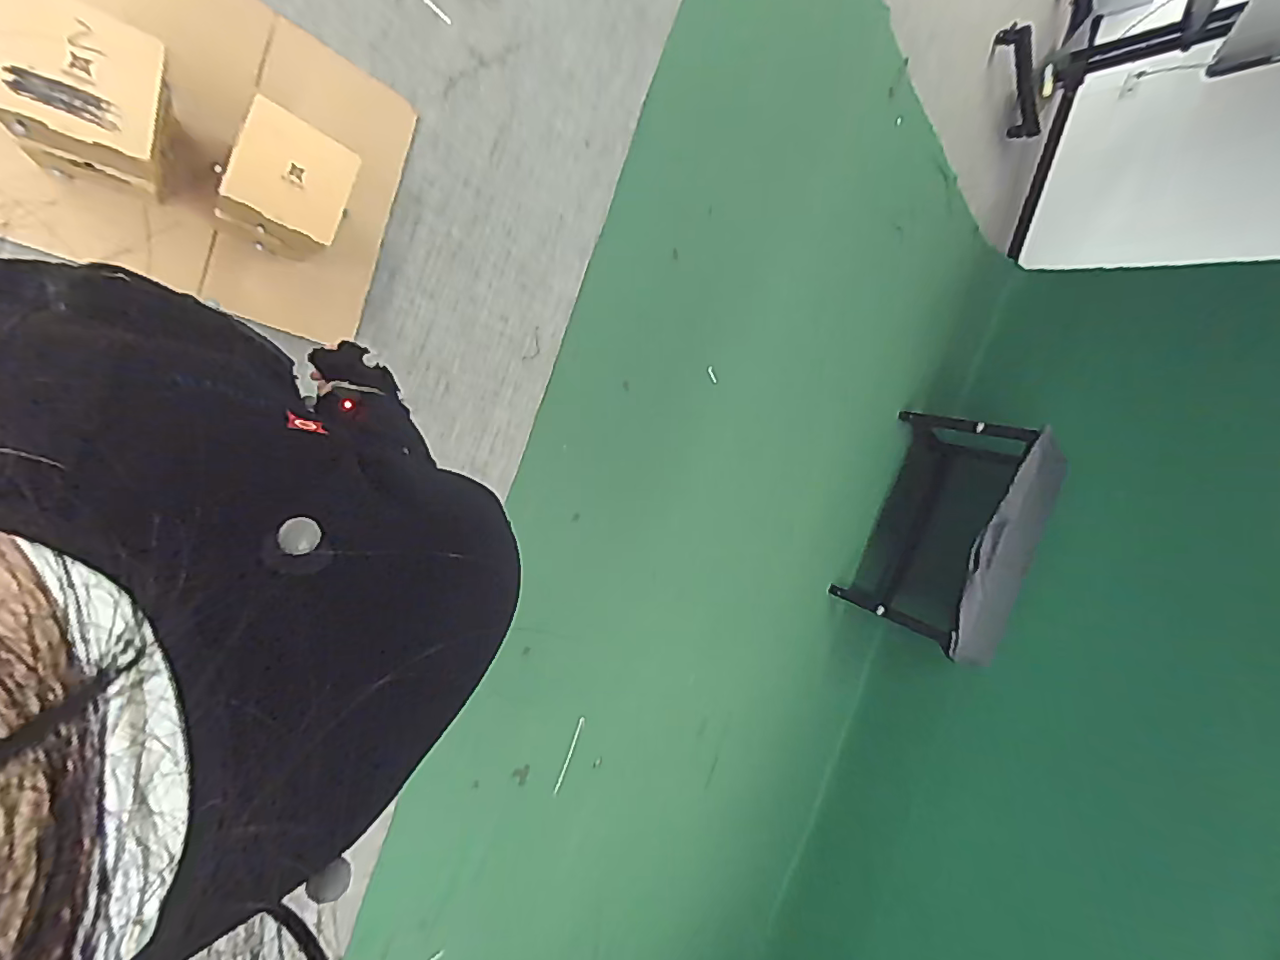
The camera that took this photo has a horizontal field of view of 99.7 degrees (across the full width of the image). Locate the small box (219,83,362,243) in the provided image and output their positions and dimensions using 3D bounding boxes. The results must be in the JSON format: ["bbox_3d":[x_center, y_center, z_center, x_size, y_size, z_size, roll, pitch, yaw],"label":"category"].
[{"bbox_3d":[-0.631,-0.550,0.969,0.168,0.176,0.179,19,92,-42],"label":"small box"}]

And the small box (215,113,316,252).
[{"bbox_3d":[-0.736,-0.583,1.088,0.168,0.176,0.179,15,94,-41],"label":"small box"}]

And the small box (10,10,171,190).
[{"bbox_3d":[-0.916,-0.621,0.917,0.168,0.176,0.179,10,97,-42],"label":"small box"}]
